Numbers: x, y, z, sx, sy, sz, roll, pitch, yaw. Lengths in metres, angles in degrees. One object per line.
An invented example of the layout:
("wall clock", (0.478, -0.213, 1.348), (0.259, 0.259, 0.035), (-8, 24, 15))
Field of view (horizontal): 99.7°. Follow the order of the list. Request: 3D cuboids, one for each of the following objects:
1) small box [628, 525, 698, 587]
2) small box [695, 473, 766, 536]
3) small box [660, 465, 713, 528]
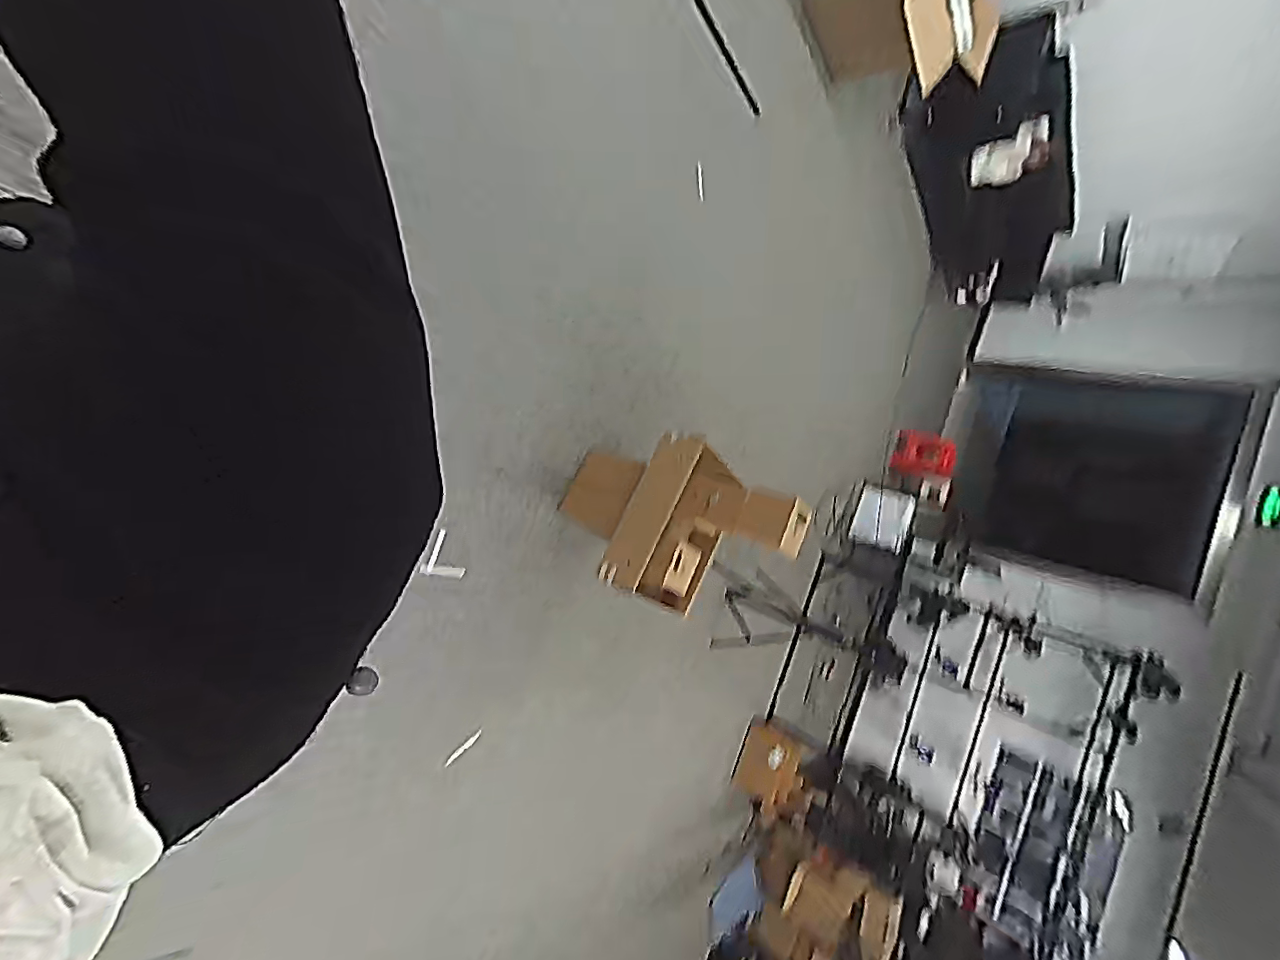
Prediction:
("small box", (0.083, 0.277, 2.008), (0.179, 0.176, 0.168), (35, 76, -50))
("small box", (0.328, 0.087, 1.967), (0.179, 0.176, 0.168), (30, 80, -51))
("small box", (0.202, 0.058, 2.067), (0.168, 0.176, 0.179), (33, 78, -49))
